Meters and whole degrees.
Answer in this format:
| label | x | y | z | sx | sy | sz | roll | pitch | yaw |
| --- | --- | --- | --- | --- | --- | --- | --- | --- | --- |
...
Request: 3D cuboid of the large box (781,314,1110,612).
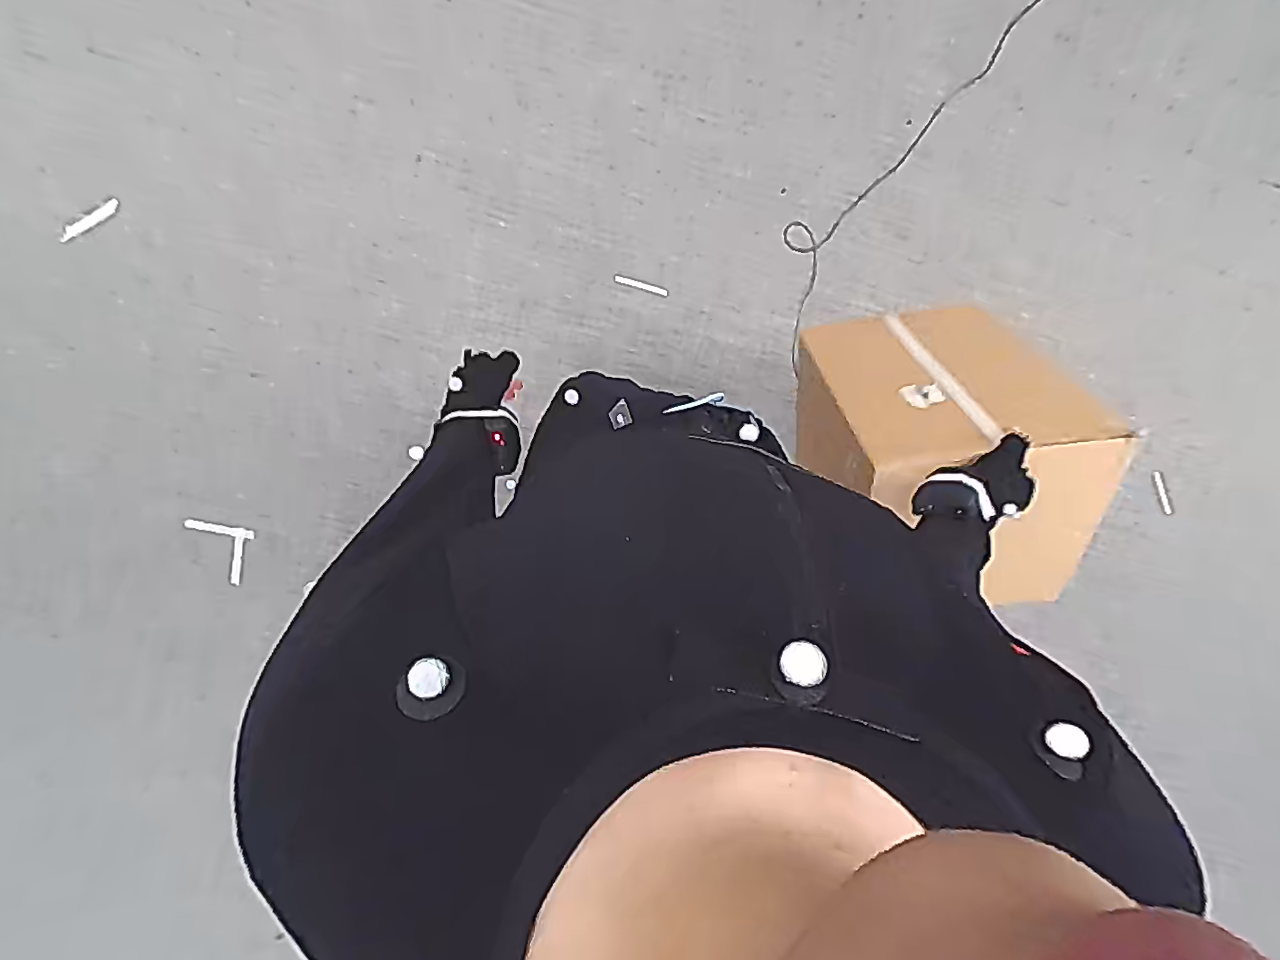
| label | x | y | z | sx | sy | sz | roll | pitch | yaw |
| --- | --- | --- | --- | --- | --- | --- | --- | --- | --- |
| large box | 0.444 | -0.041 | 0.923 | 0.320 | 0.408 | 0.320 | -8 | 130 | 4 |
